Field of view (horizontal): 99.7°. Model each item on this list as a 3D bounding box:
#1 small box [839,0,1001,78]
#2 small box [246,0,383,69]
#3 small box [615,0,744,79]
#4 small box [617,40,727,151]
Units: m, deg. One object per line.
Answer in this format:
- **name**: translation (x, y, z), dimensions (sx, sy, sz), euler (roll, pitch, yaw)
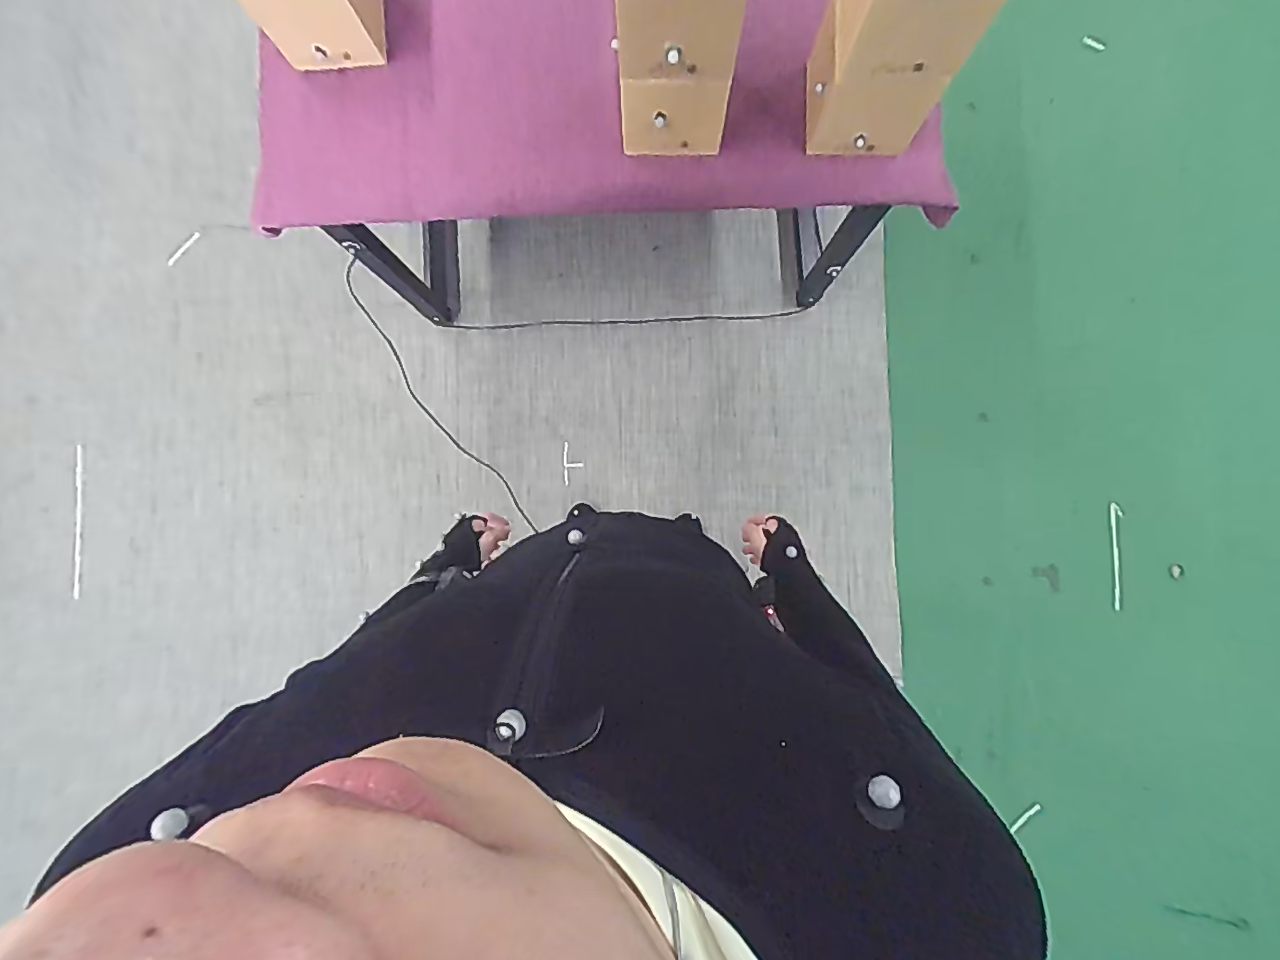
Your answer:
- **small box**: translation (0.368, -0.674, 0.704), dimensions (0.168, 0.176, 0.179), euler (2, 86, 2)
- **small box**: translation (-0.548, -0.833, 0.894), dimensions (0.168, 0.176, 0.179), euler (-5, 88, 1)
- **small box**: translation (0.051, -0.679, 0.713), dimensions (0.168, 0.176, 0.179), euler (0, 86, 2)
- **small box**: translation (0.052, -0.665, 0.877), dimensions (0.168, 0.176, 0.179), euler (0, 86, 1)
